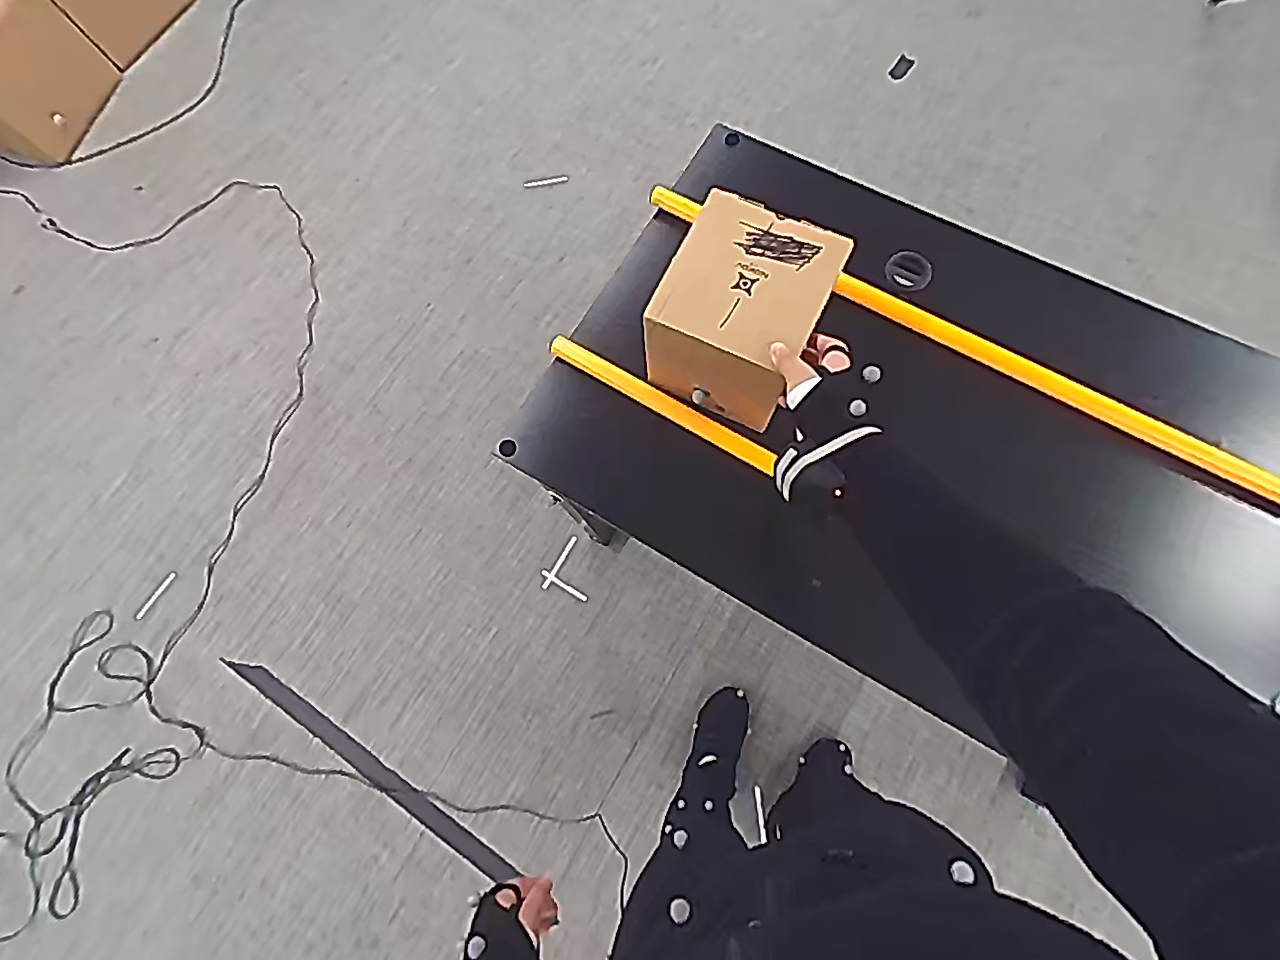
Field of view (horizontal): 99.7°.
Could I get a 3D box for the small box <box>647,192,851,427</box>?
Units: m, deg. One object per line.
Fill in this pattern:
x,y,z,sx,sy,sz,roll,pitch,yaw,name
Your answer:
0.119,-0.192,0.648,0.168,0.176,0.179,26,79,9,small box
